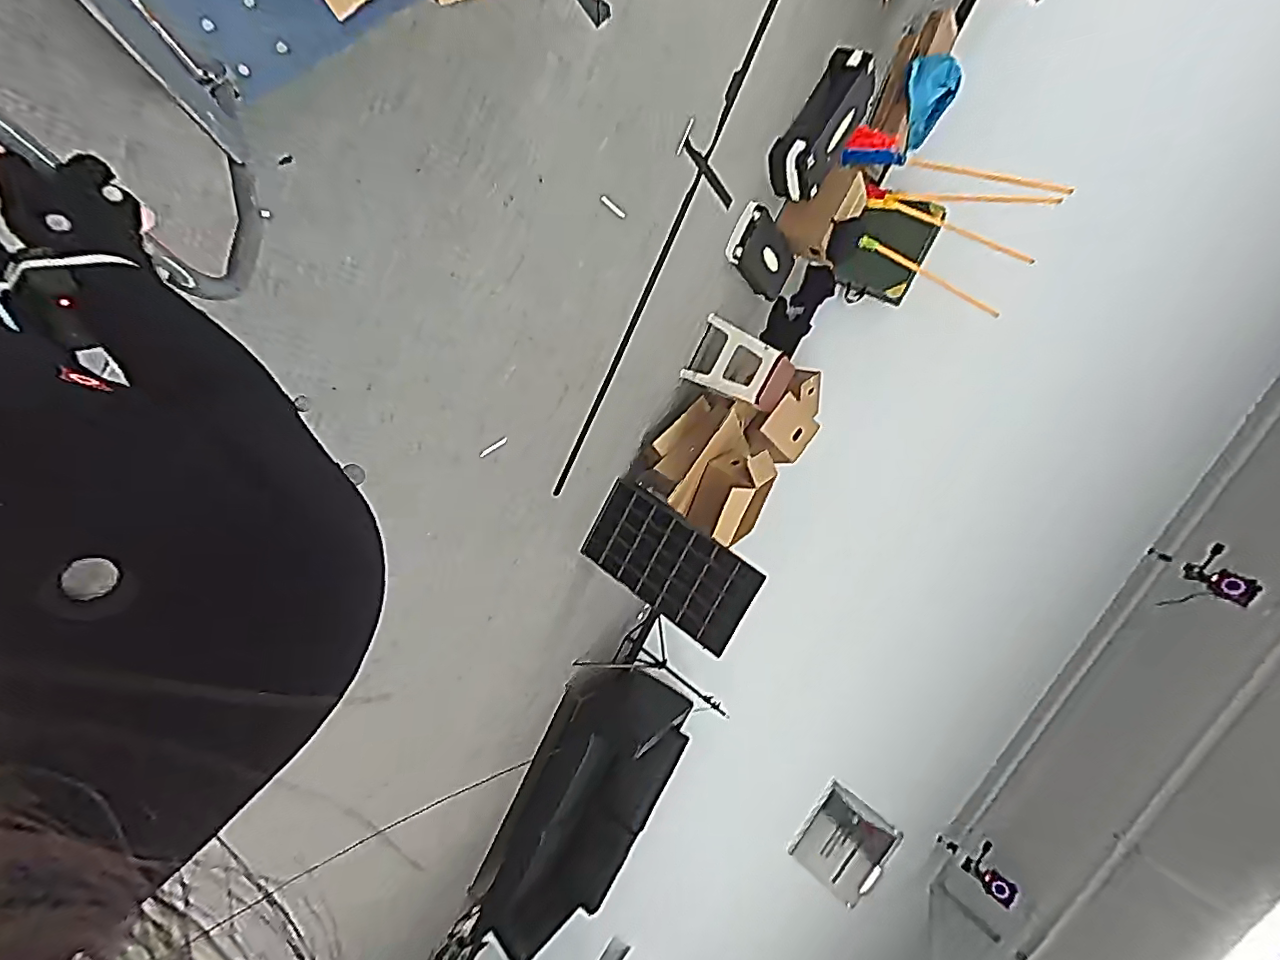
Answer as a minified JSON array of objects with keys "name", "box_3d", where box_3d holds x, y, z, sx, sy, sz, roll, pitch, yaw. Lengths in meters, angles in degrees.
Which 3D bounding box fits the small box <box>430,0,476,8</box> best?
[{"name":"small box","box_3d":[-0.309,-0.936,0.907,0.179,0.176,0.168,-27,148,-13]}]

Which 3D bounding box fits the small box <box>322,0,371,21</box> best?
[{"name":"small box","box_3d":[-0.482,-0.867,0.830,0.168,0.176,0.179,-36,150,0]}]
